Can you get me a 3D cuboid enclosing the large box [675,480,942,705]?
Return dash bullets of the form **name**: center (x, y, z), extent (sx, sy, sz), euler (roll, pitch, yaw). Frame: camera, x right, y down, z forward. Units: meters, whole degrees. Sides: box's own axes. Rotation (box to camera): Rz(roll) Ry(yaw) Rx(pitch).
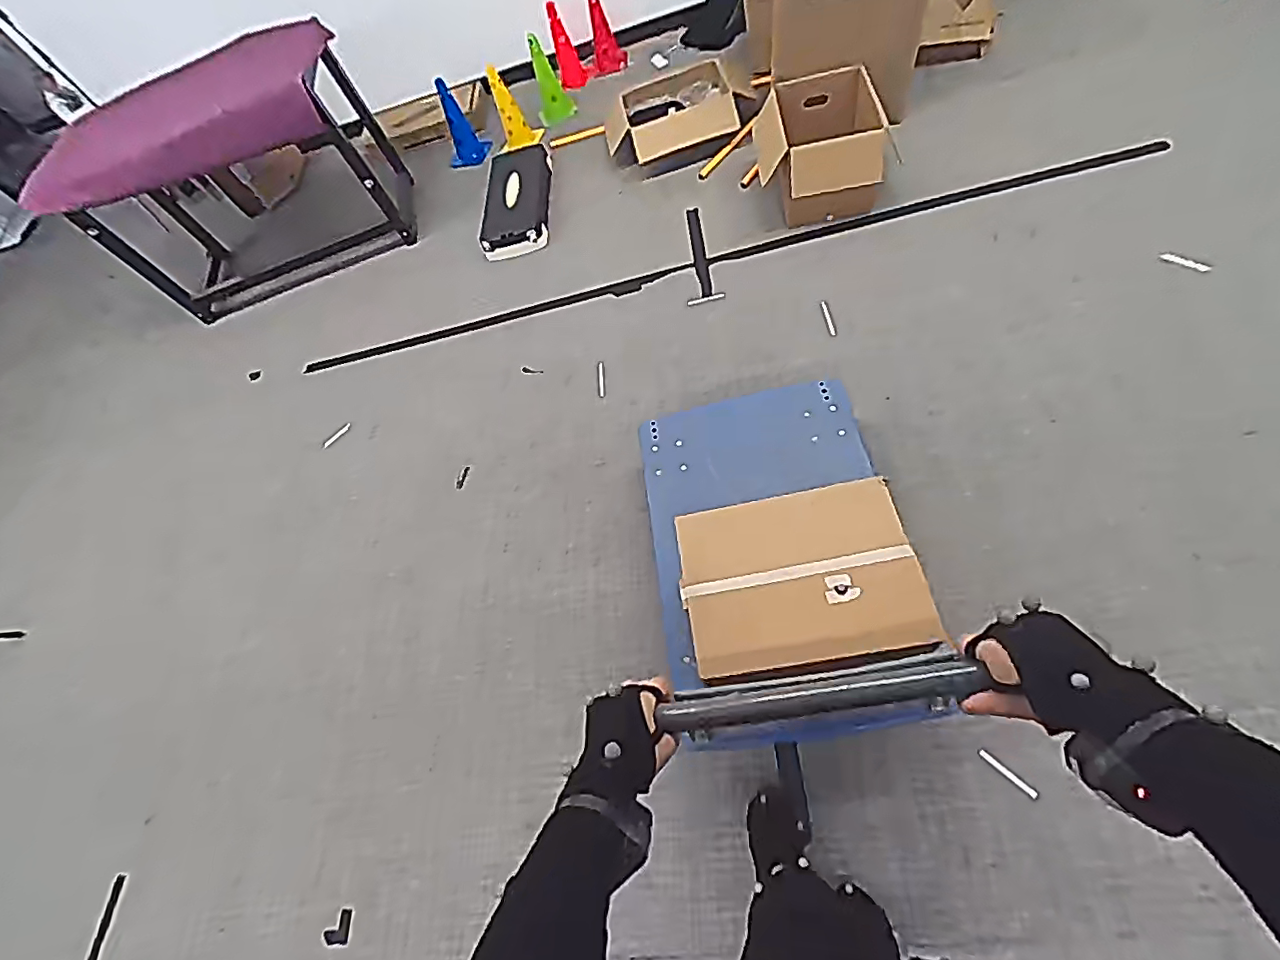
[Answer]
- **large box**: center (0.308, 0.243, 1.091), extent (0.408, 0.320, 0.320), euler (-12, 60, 7)
